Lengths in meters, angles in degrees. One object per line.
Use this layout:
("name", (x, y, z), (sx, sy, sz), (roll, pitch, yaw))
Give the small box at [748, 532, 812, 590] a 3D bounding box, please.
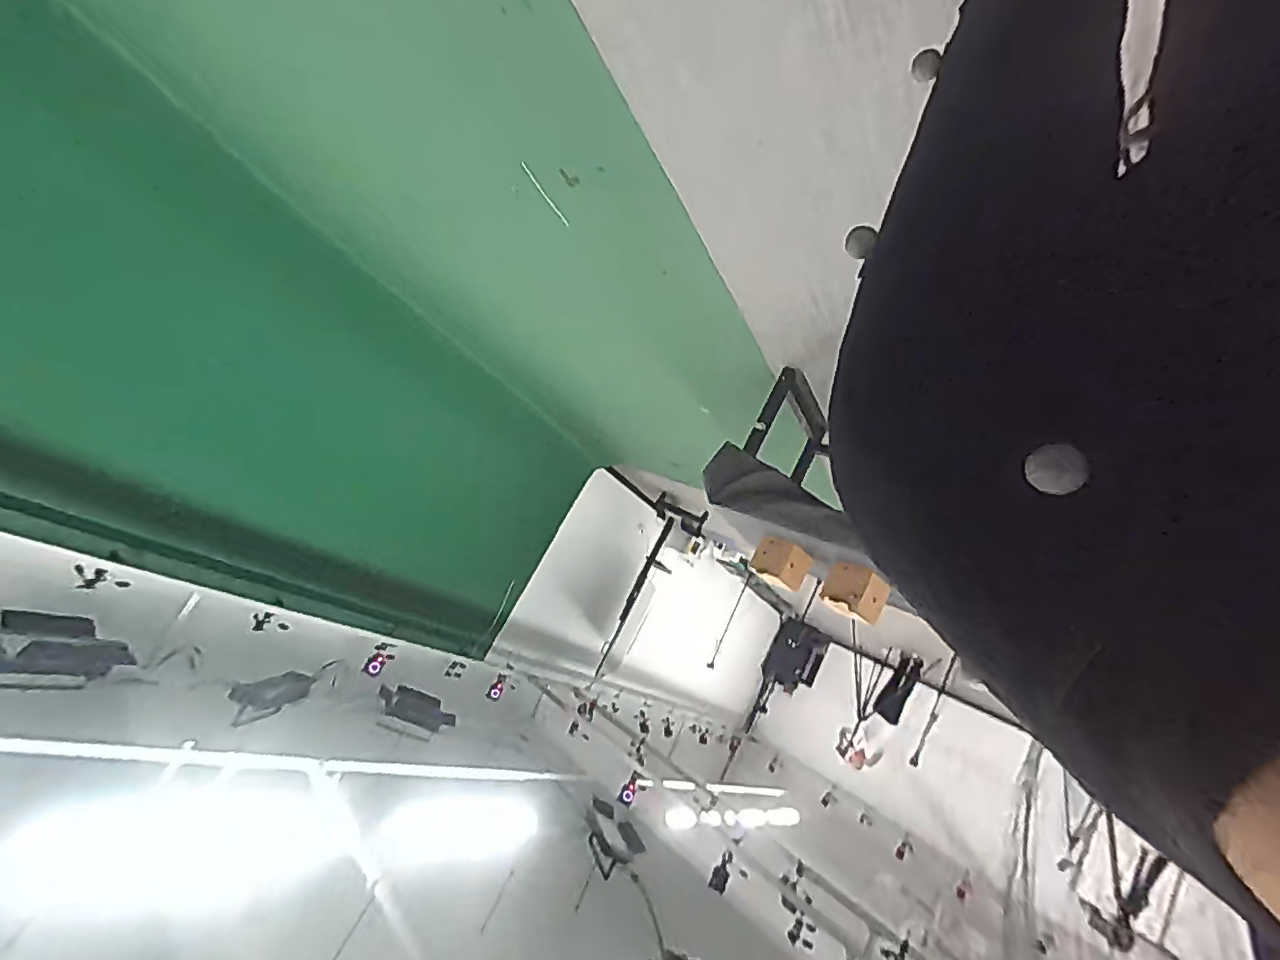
("small box", (0.597, 0.338, 2.299), (0.179, 0.176, 0.168), (36, 168, -38))
